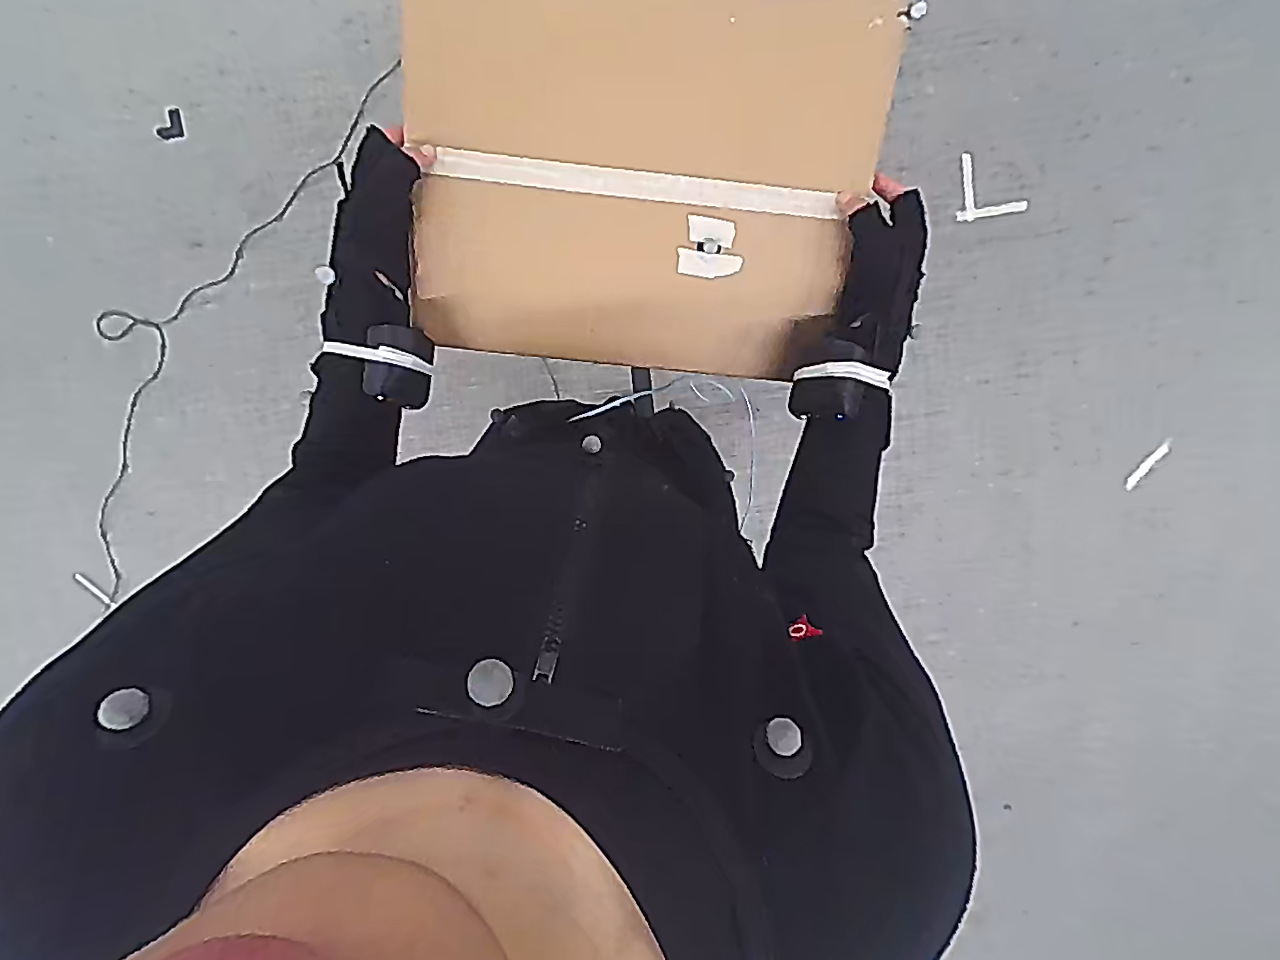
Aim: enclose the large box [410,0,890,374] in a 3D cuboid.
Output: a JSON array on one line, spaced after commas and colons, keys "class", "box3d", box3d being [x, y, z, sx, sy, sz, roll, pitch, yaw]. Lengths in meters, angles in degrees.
[{"class": "large box", "box3d": [-0.006, -0.311, 0.628, 0.408, 0.320, 0.320, 4, 110, -4]}]
